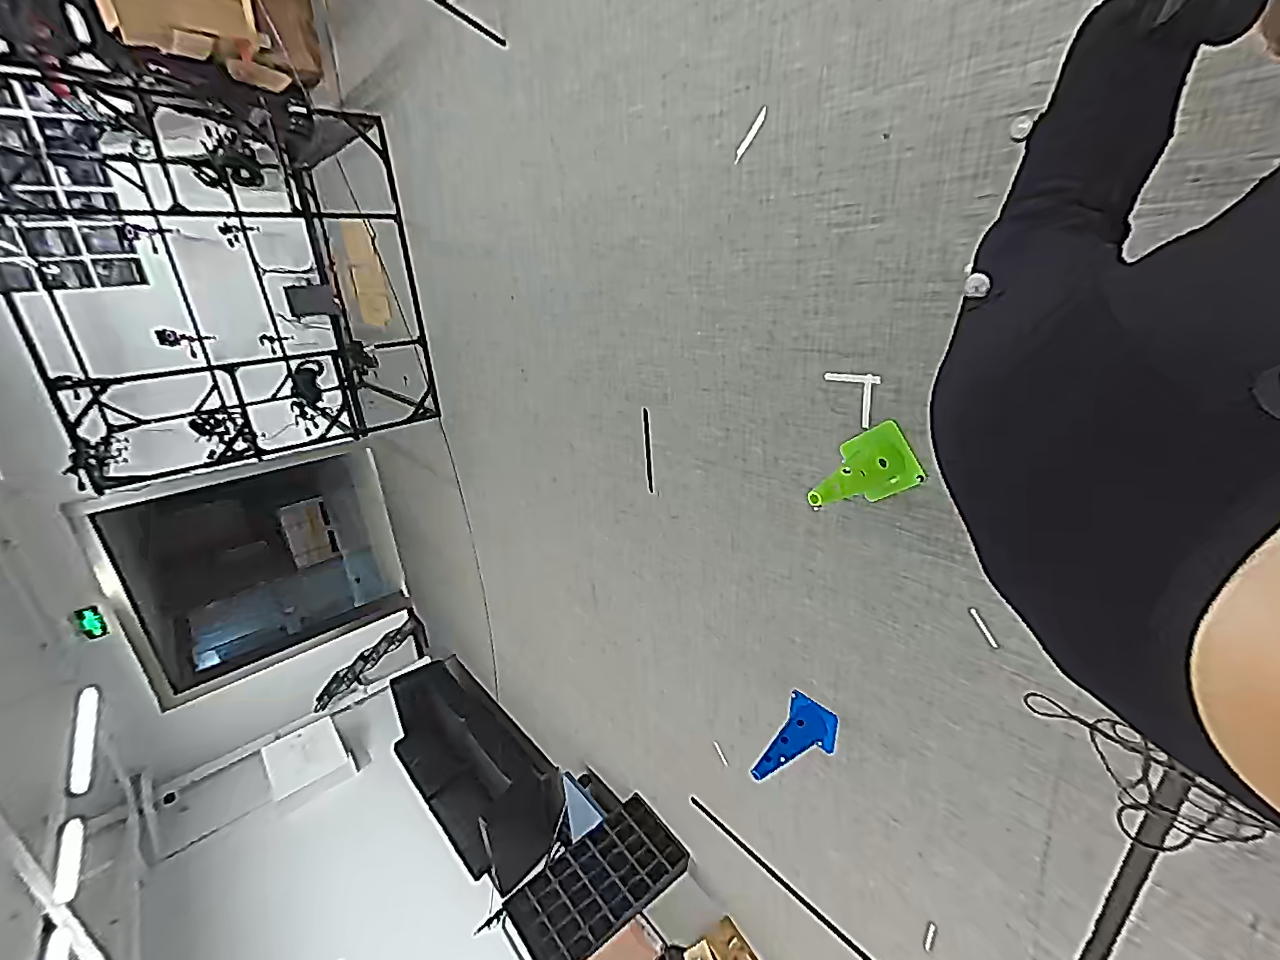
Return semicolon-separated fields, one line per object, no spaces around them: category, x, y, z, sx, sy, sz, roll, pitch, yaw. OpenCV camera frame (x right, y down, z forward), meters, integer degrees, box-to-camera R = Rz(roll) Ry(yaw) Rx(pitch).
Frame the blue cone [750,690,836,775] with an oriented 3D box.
blue cone;0.554;0.987;2.029;0.192;0.380;0.193;25;125;45

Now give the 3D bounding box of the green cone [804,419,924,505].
green cone;0.577;-0.009;1.492;0.202;0.368;0.200;-38;75;54

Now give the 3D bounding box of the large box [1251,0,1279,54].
large box;0.593;-0.431;0.216;0.408;0.320;0.320;24;126;44
